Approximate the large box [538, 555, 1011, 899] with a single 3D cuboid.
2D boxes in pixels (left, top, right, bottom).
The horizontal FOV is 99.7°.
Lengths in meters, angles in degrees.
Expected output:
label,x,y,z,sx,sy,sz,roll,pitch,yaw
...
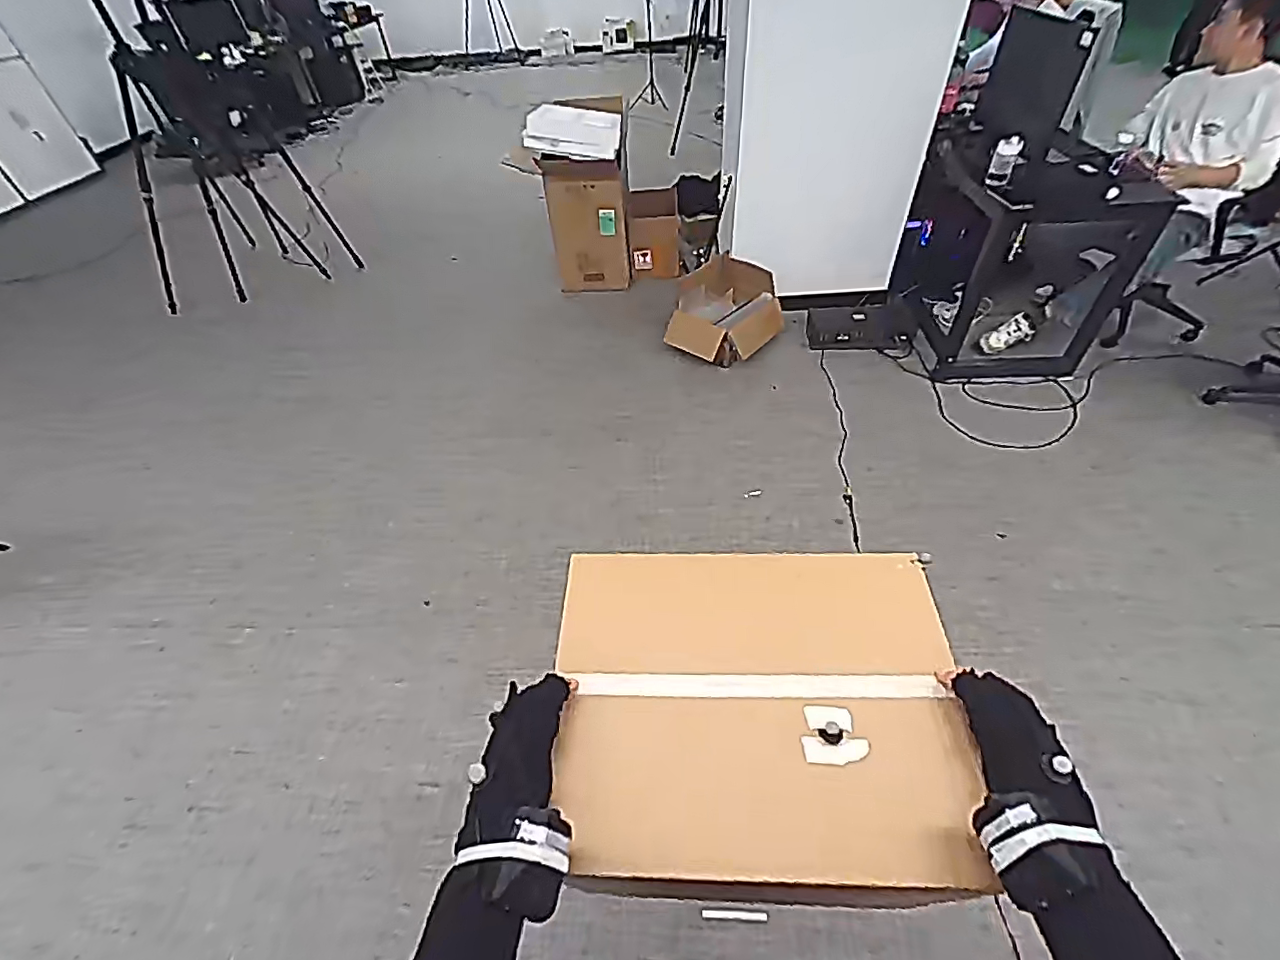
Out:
label,x,y,z,sx,sy,sz,roll,pitch,yaw
large box,0.118,0.304,0.659,0.408,0.320,0.320,0,50,4
